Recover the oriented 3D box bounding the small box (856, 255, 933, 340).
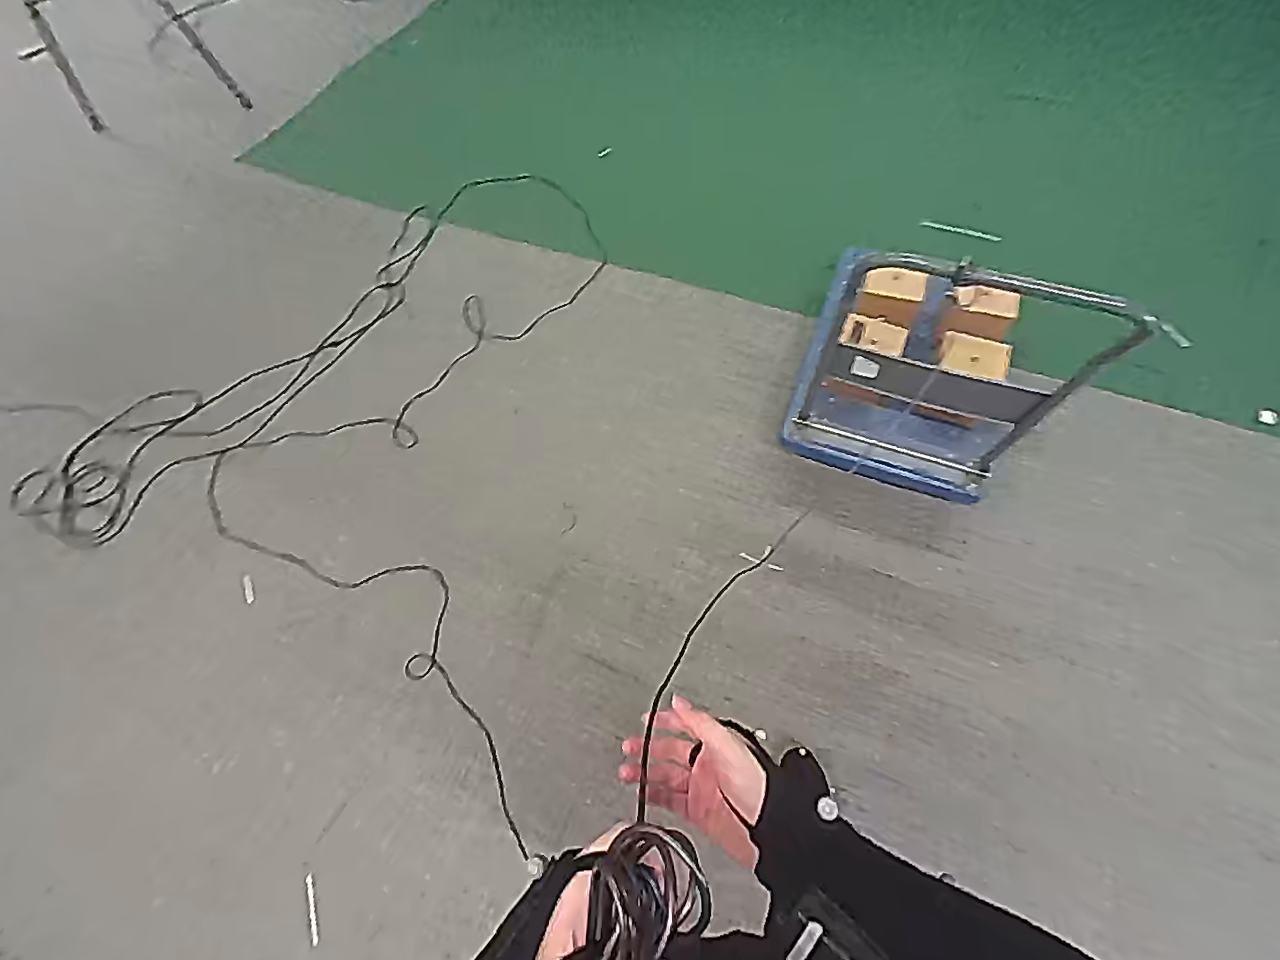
[{"bbox_3d":[0.792,-0.567,1.696,0.168,0.176,0.179,16,65,12],"label":"small box"}]

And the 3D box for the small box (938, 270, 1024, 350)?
[{"bbox_3d":[1.030,-0.501,1.643,0.168,0.176,0.179,16,66,13],"label":"small box"}]

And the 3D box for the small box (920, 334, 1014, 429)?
[{"bbox_3d":[0.922,-0.277,1.537,0.168,0.176,0.179,20,67,14],"label":"small box"}]
